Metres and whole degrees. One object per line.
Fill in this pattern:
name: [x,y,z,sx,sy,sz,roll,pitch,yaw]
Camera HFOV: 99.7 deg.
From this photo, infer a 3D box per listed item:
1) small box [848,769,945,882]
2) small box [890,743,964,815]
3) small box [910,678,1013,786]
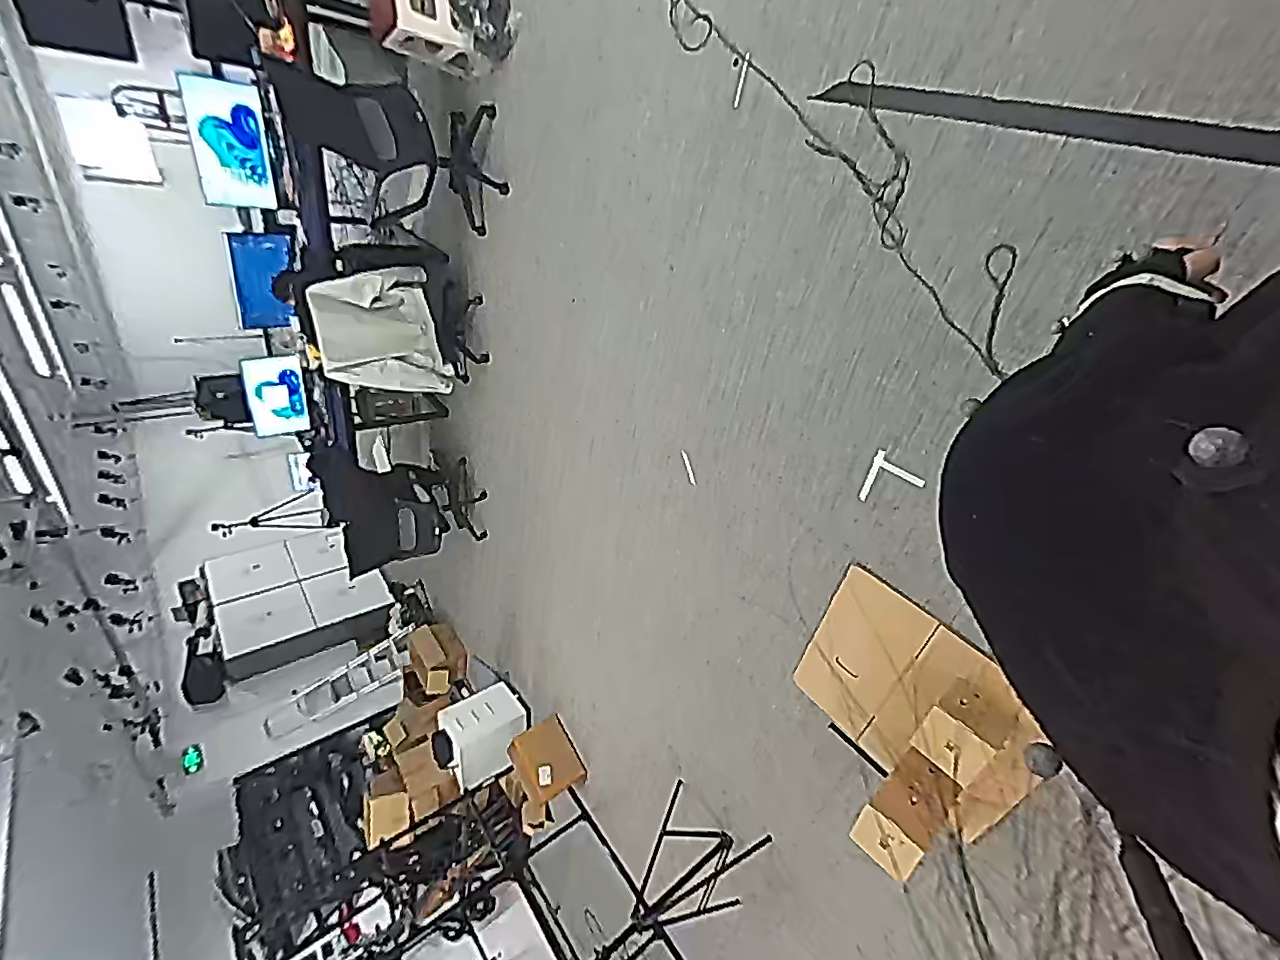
small box: [0.729,0.971,1.532,0.168,0.176,0.179,34,128,38]
small box: [0.852,0.929,1.633,0.168,0.176,0.179,33,127,41]
small box: [0.892,0.687,1.493,0.168,0.176,0.179,38,131,38]
